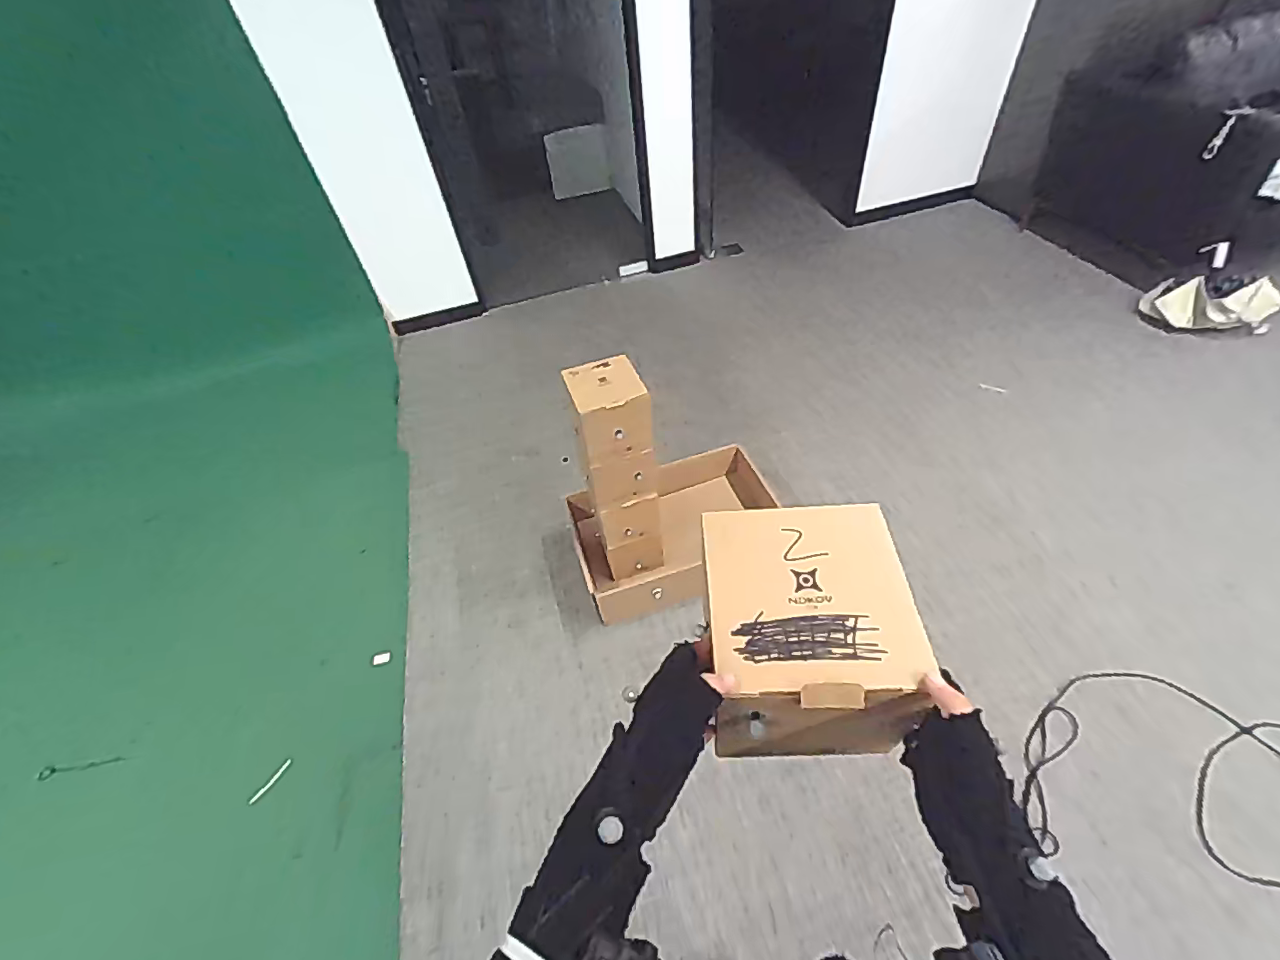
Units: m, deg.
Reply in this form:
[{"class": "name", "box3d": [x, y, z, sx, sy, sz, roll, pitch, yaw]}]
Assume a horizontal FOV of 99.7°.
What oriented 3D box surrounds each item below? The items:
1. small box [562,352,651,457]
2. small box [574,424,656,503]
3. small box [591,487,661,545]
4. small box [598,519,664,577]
[{"class": "small box", "box3d": [-0.076, -0.174, 1.299, 0.168, 0.176, 0.179, -16, 49, -11]}, {"class": "small box", "box3d": [-0.063, -0.060, 1.416, 0.168, 0.176, 0.179, -17, 48, -10]}, {"class": "small box", "box3d": [-0.045, 0.054, 1.532, 0.168, 0.176, 0.179, -16, 48, -8]}, {"class": "small box", "box3d": [-0.030, 0.165, 1.650, 0.168, 0.176, 0.179, -16, 48, -7]}]
